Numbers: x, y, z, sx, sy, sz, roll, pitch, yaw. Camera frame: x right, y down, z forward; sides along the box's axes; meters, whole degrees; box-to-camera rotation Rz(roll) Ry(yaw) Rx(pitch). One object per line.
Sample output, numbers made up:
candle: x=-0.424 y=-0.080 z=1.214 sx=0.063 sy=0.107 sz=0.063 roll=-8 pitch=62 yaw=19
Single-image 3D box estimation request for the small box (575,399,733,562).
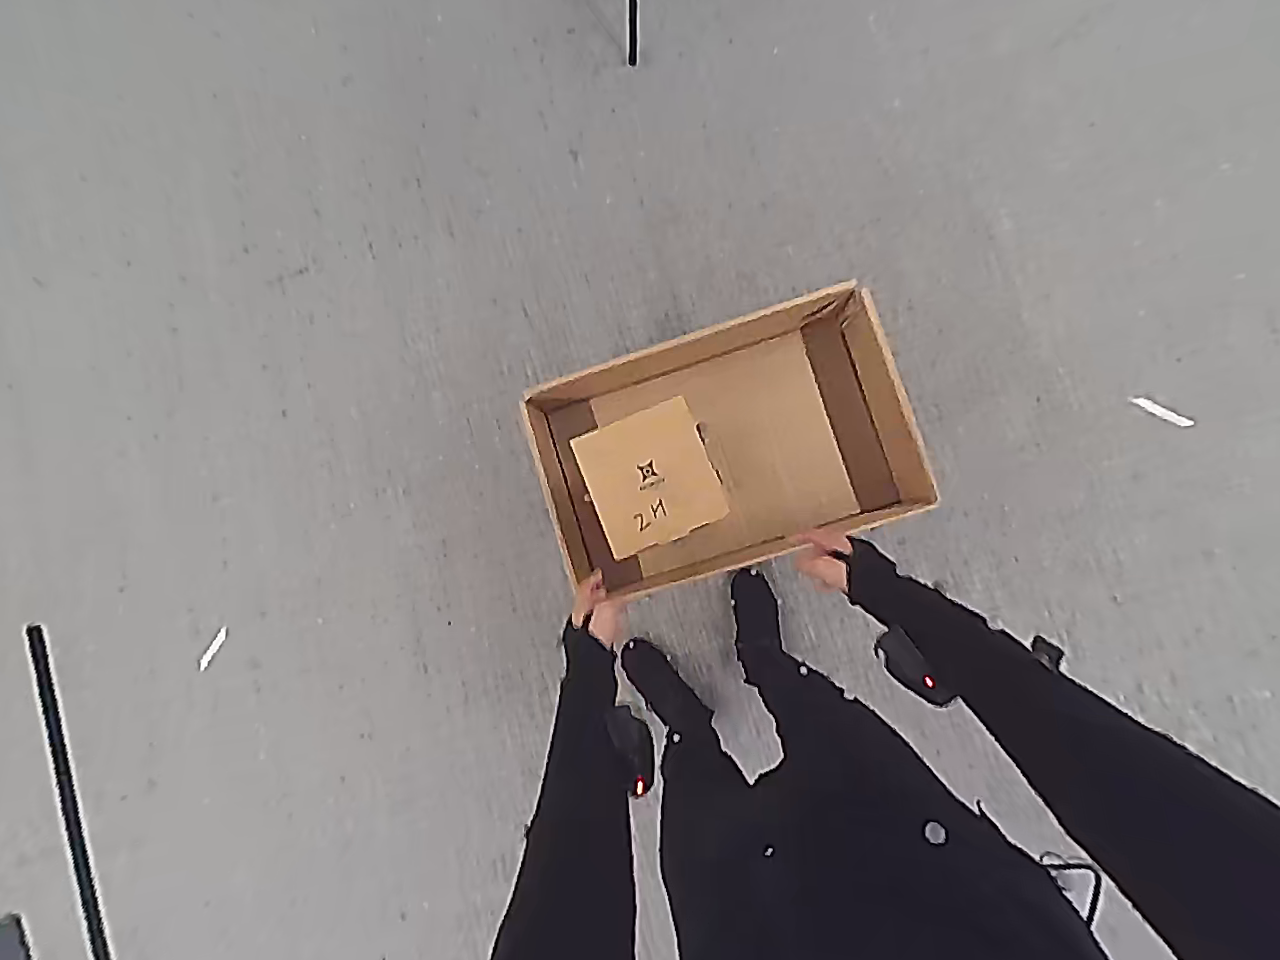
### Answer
small box: x=0.022 y=0.007 z=0.792 sx=0.168 sy=0.176 sz=0.179 roll=-23 pitch=85 yaw=3
